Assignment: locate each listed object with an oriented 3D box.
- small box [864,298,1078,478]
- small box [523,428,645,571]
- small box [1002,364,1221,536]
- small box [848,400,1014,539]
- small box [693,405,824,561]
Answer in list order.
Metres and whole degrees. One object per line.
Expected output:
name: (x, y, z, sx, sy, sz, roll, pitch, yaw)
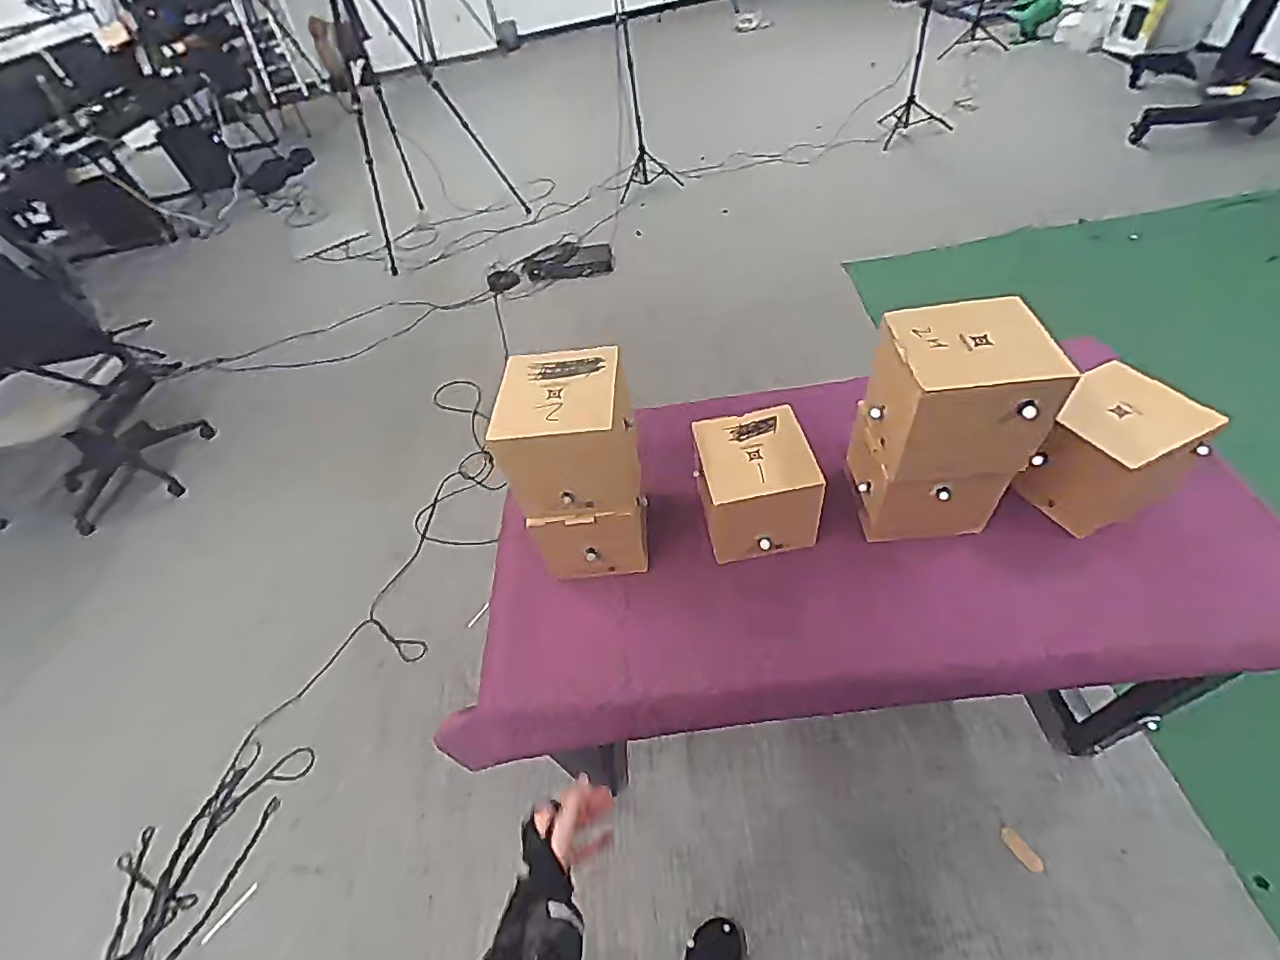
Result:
small box: (0.422, -0.119, 0.728, 0.179, 0.176, 0.168, -4, 49, 7)
small box: (-0.083, 0.040, 0.902, 0.168, 0.176, 0.179, -6, 50, 5)
small box: (0.696, -0.043, 0.831, 0.179, 0.176, 0.168, -23, 49, -9)
small box: (0.439, -0.018, 0.858, 0.179, 0.176, 0.168, -5, 50, 6)
small box: (0.183, 0.006, 0.882, 0.168, 0.176, 0.179, -11, 50, 2)
